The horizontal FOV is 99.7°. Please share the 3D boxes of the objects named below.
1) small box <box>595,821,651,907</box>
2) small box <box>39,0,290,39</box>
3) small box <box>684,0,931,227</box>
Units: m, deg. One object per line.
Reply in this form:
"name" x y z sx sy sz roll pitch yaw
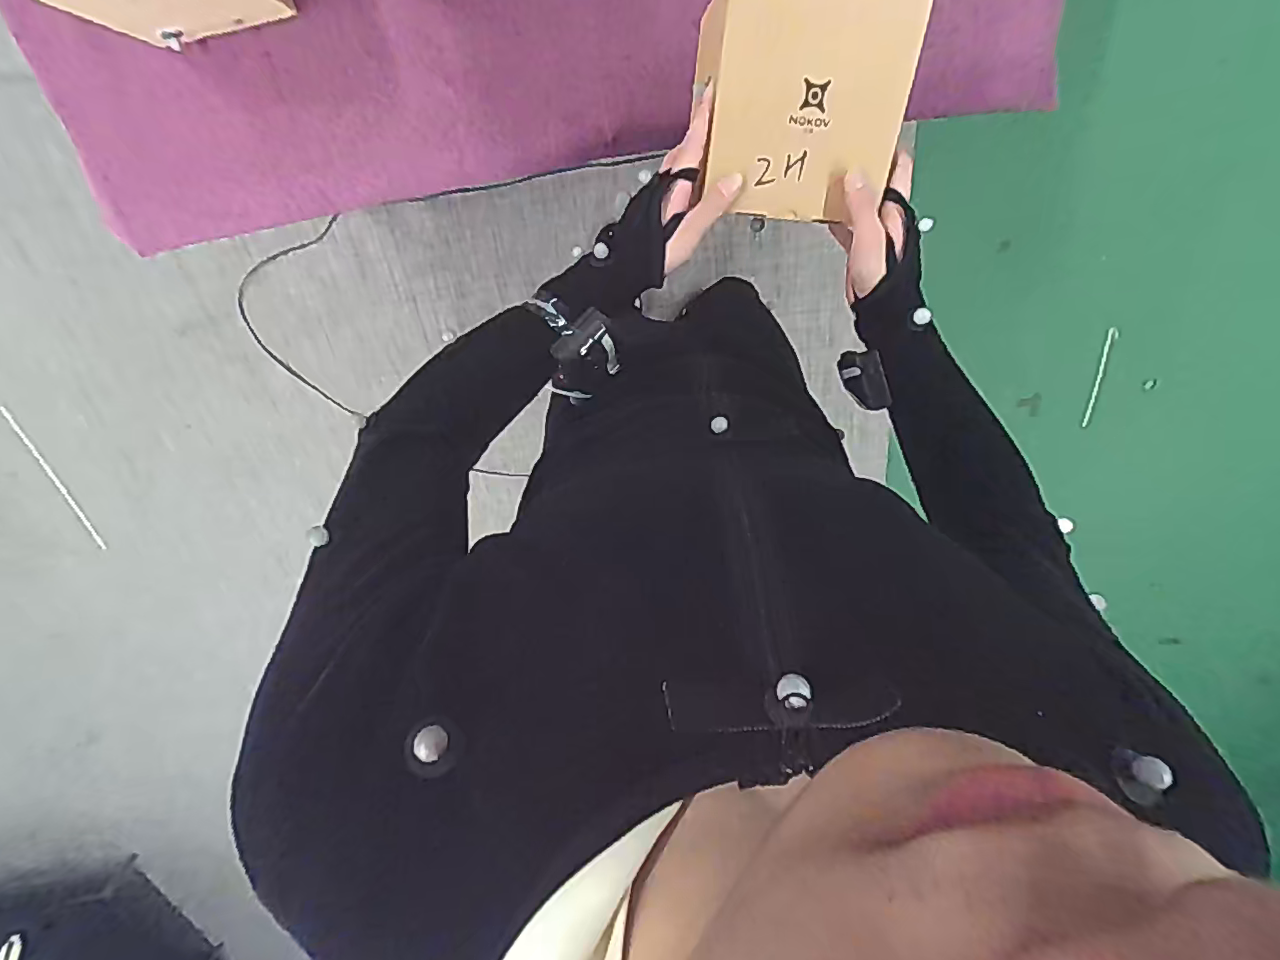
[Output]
"small box" -0.054 1.263 1.784 0.168 0.176 0.179 -6 116 0
"small box" -0.478 -0.550 0.508 0.168 0.176 0.179 -12 116 1
"small box" 0.140 -0.356 0.530 0.168 0.176 0.179 4 118 -4
